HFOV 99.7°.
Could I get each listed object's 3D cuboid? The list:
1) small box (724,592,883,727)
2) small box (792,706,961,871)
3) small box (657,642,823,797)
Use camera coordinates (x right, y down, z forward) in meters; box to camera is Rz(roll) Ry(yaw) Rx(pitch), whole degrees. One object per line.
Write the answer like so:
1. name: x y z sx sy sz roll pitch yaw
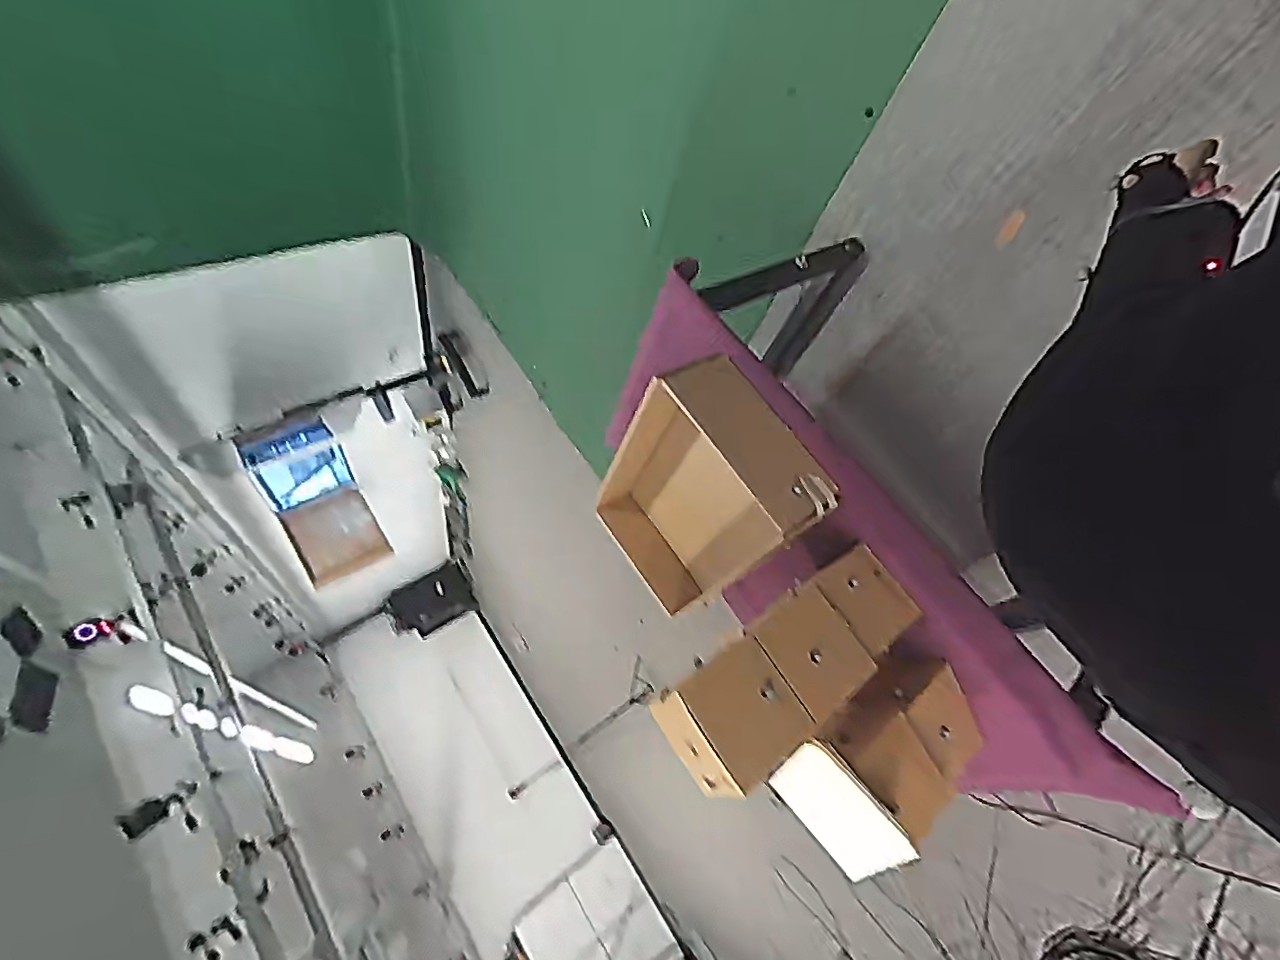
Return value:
1. small box: 0.289 0.322 0.972 0.179 0.176 0.168 54 151 15
2. small box: 0.411 0.520 0.945 0.179 0.176 0.168 59 151 5
3. small box: 0.160 0.389 0.895 0.179 0.176 0.168 55 152 16
